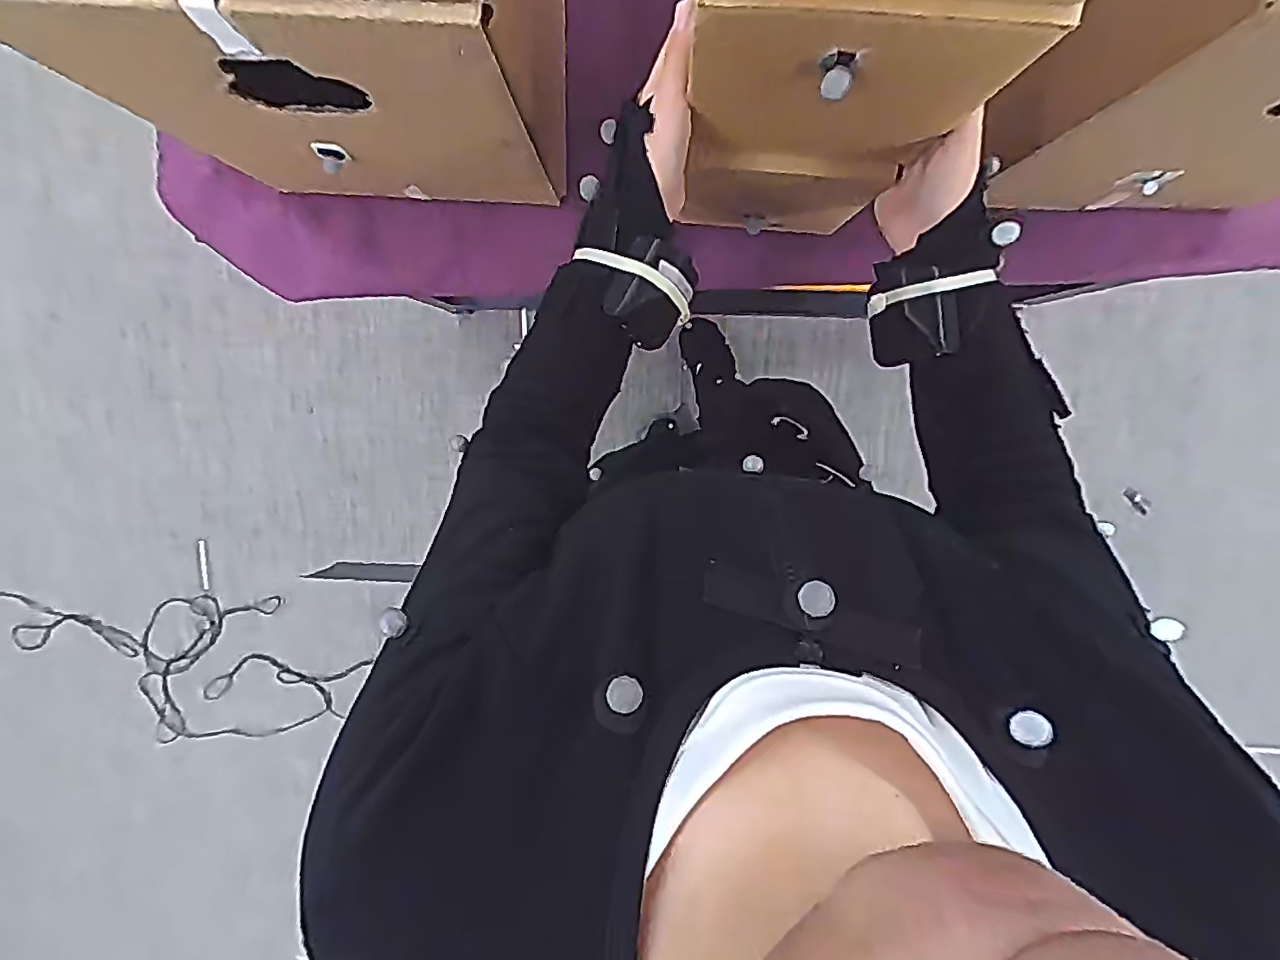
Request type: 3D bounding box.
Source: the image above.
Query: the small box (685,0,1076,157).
[{"bbox_3d":[0.122,-0.307,0.311,0.179,0.176,0.168,5,102,3],"label":"small box"}]

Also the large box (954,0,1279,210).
[{"bbox_3d":[0.474,-0.458,0.392,0.320,0.320,0.408,1,99,1],"label":"large box"}]
